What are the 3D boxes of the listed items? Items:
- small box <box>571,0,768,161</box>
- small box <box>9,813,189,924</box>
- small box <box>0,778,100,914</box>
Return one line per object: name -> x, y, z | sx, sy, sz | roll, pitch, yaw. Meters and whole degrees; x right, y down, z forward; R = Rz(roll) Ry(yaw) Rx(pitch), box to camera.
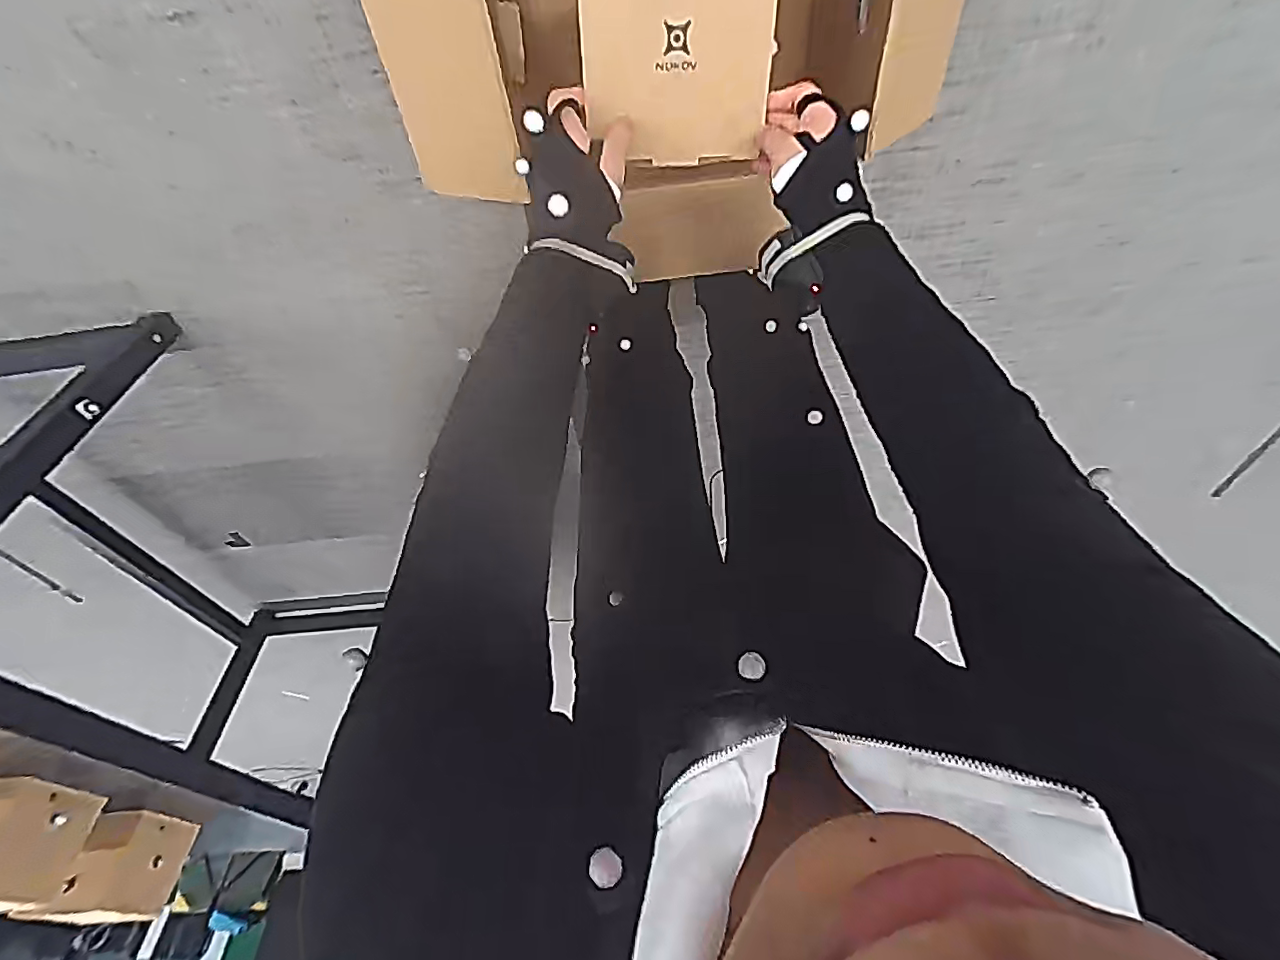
small box -> 0.023, -0.425, 0.524 | 0.168, 0.176, 0.179 | -3, 128, -1
small box -> -1.085, 0.799, 1.112 | 0.179, 0.176, 0.168 | -5, 137, 3
small box -> -1.103, 0.621, 0.916 | 0.179, 0.176, 0.168 | -5, 138, 3
